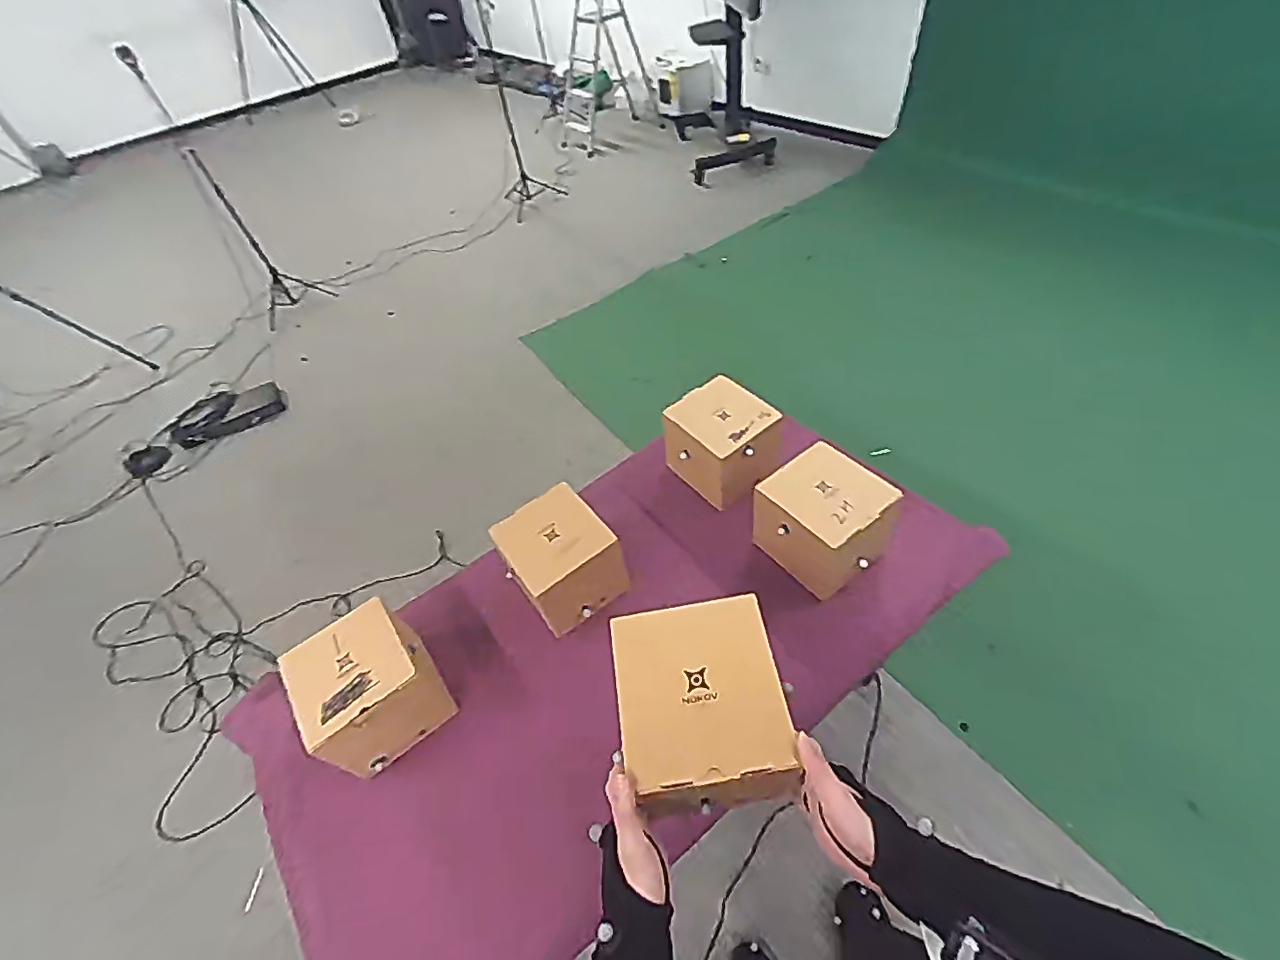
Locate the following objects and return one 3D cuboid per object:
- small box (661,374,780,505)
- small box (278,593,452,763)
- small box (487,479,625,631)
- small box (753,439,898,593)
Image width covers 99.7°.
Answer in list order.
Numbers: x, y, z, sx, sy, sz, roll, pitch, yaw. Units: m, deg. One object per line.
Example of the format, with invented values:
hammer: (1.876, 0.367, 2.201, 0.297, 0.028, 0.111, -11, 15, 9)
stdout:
small box: (0.163, -0.082, 1.115, 0.168, 0.176, 0.179, -34, 54, -18)
small box: (-0.431, 0.322, 0.867, 0.168, 0.176, 0.179, -34, 53, -20)
small box: (-0.147, 0.138, 0.982, 0.168, 0.176, 0.179, -33, 54, -18)
small box: (0.317, 0.066, 0.962, 0.168, 0.176, 0.179, -33, 51, -17)
